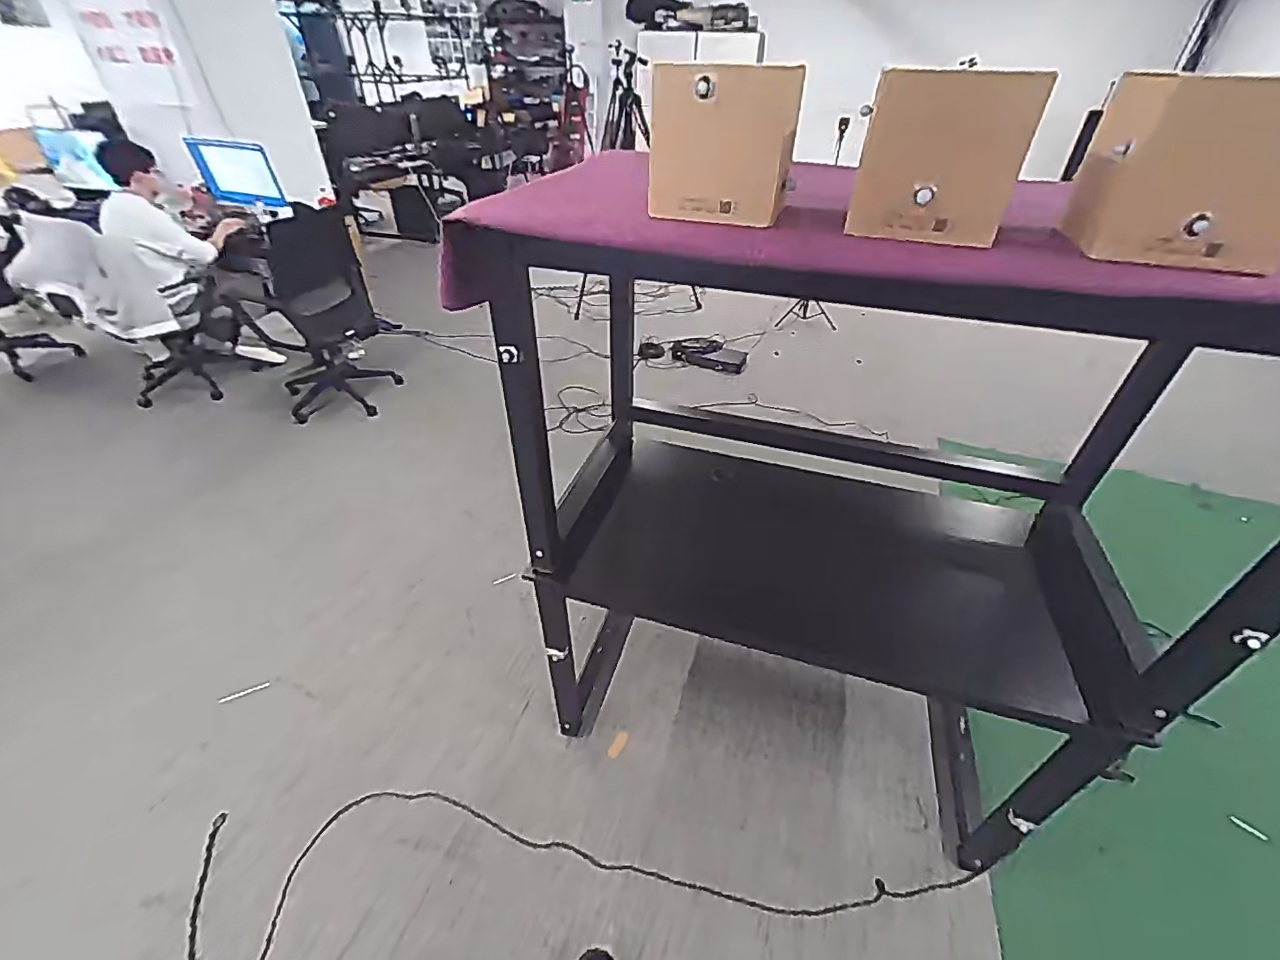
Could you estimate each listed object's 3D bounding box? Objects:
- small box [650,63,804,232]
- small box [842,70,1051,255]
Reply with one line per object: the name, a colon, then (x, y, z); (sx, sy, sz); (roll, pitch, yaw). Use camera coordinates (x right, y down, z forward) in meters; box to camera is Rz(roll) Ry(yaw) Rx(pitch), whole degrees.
small box: (0.113, -0.444, 0.722); (0.168, 0.176, 0.179); (12, 37, 13)
small box: (0.354, -0.392, 0.664); (0.168, 0.176, 0.179); (12, 39, 14)
